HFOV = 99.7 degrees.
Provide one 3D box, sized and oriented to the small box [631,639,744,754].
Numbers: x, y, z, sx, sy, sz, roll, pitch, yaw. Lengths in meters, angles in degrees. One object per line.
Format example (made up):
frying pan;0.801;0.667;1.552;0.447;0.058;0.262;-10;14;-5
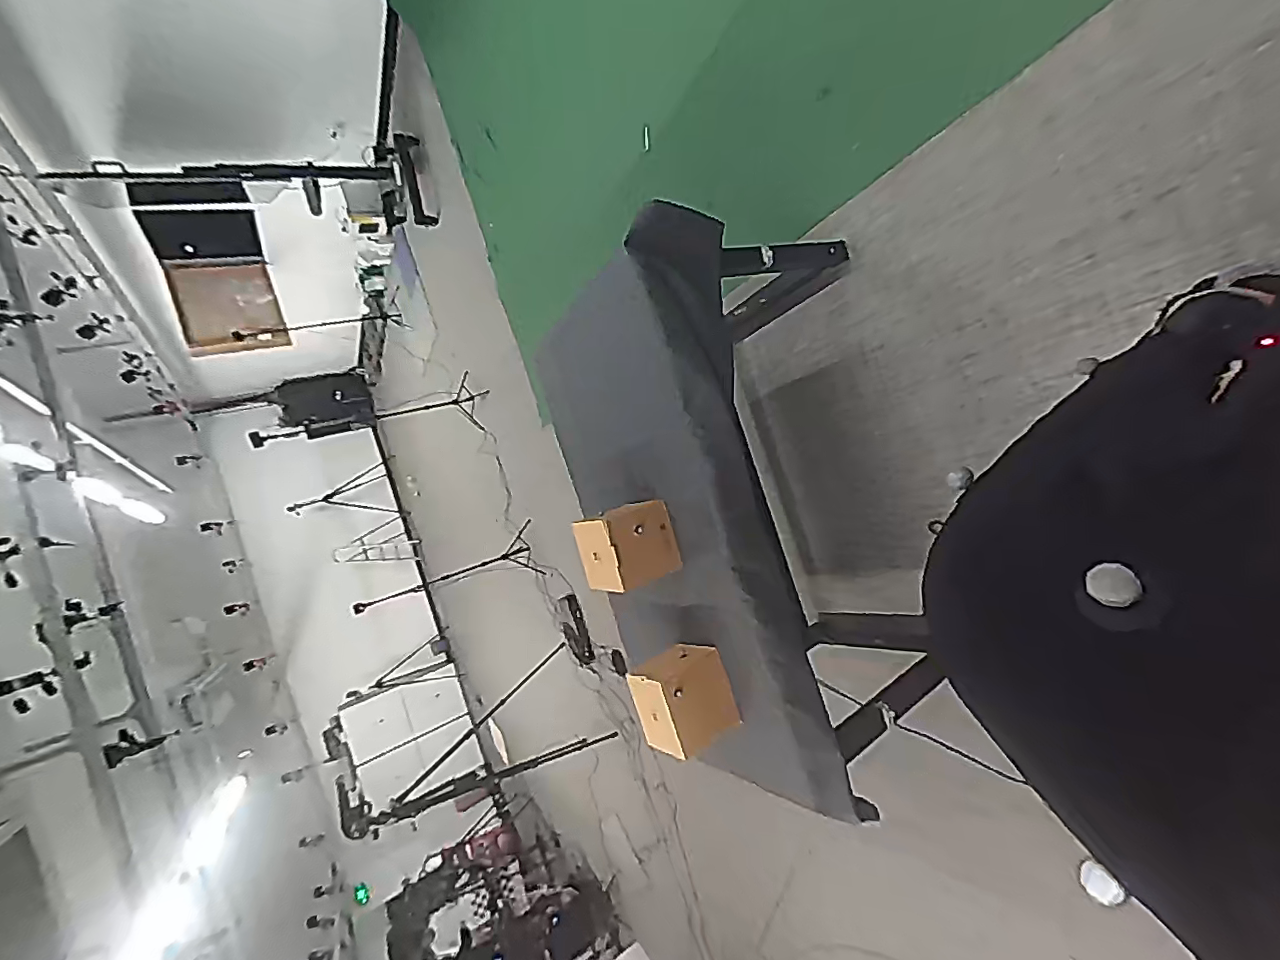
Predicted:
small box;0.109;0.484;1.235;0.168;0.176;0.179;-24;84;60

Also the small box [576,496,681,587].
small box;-0.021;0.141;1.264;0.179;0.176;0.168;-14;93;60
